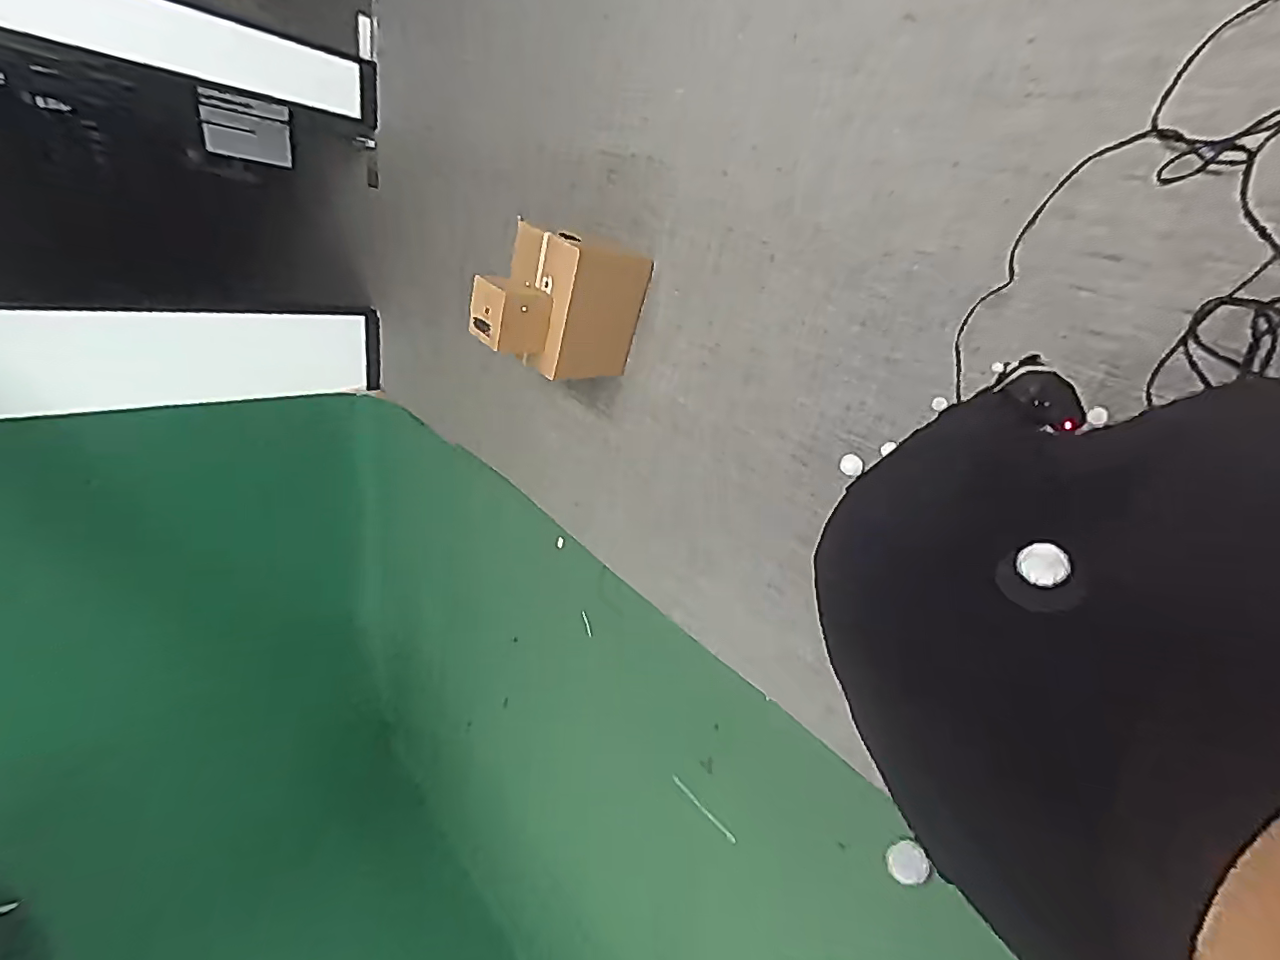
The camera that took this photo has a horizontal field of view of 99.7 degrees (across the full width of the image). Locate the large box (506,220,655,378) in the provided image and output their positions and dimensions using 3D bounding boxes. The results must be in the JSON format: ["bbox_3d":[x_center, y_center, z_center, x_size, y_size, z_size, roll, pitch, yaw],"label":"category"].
[{"bbox_3d":[-0.203,-0.583,1.781,0.320,0.320,0.408,37,124,31],"label":"large box"}]
